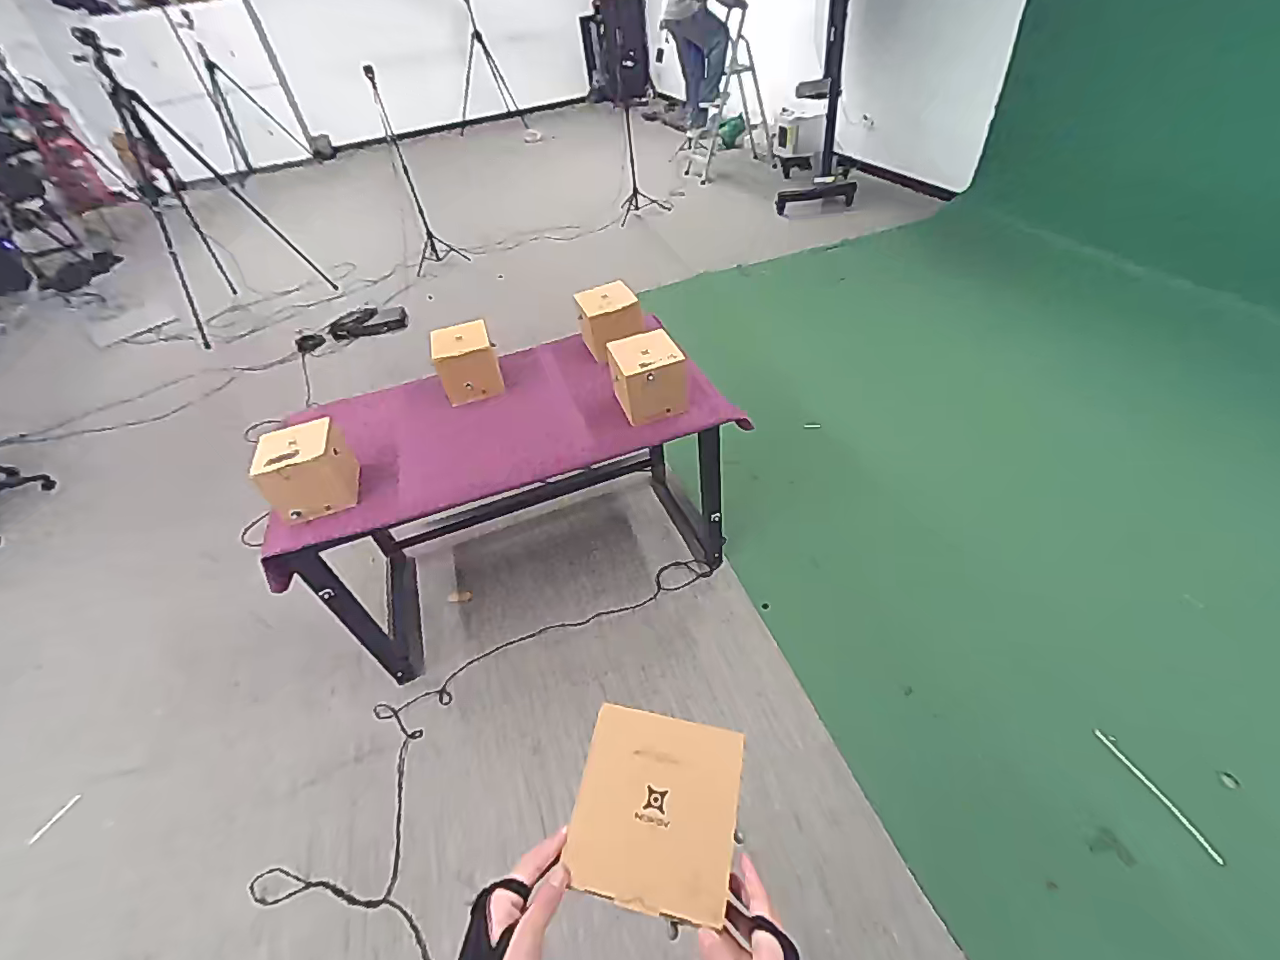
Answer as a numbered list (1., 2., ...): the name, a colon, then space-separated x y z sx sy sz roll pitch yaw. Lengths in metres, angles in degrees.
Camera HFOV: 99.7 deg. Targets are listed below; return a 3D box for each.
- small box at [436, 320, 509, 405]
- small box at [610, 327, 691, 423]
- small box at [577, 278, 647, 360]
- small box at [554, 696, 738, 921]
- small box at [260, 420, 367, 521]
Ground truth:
1. small box: -0.511 -0.357 1.652 0.168 0.176 0.179 -17 47 -7
2. small box: 0.028 -0.285 1.467 0.168 0.176 0.179 -19 45 -7
3. small box: -0.086 -0.510 1.717 0.168 0.176 0.179 -22 46 -7
4. small box: 0.019 0.381 0.631 0.168 0.176 0.179 8 53 12
5. small box: -0.809 -0.019 1.362 0.168 0.176 0.179 -19 43 -9
